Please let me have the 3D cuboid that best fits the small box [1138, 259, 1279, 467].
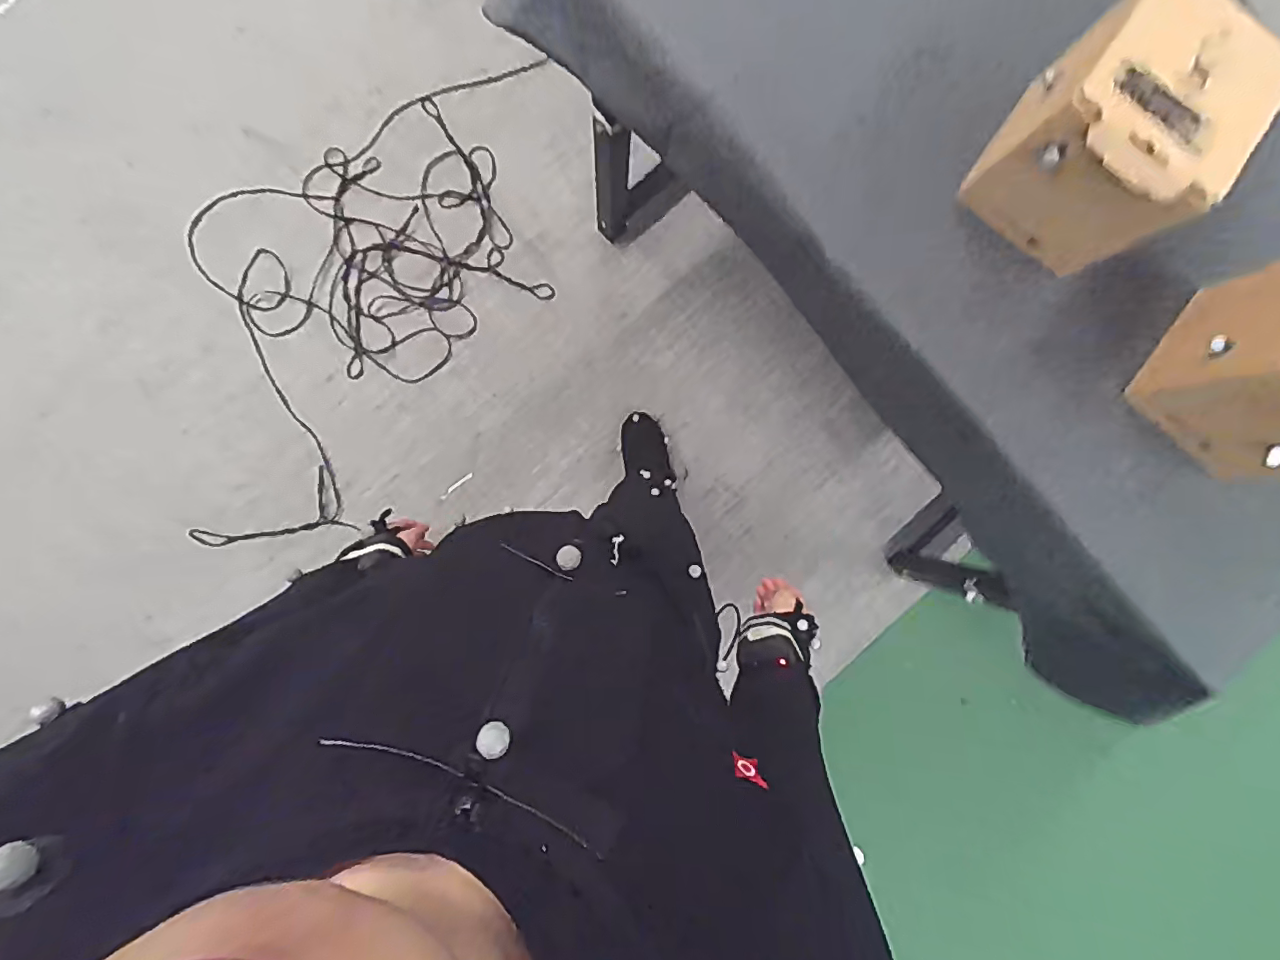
[{"bbox_3d":[0.710,-0.126,0.587,0.168,0.176,0.179,37,86,-4],"label":"small box"}]
